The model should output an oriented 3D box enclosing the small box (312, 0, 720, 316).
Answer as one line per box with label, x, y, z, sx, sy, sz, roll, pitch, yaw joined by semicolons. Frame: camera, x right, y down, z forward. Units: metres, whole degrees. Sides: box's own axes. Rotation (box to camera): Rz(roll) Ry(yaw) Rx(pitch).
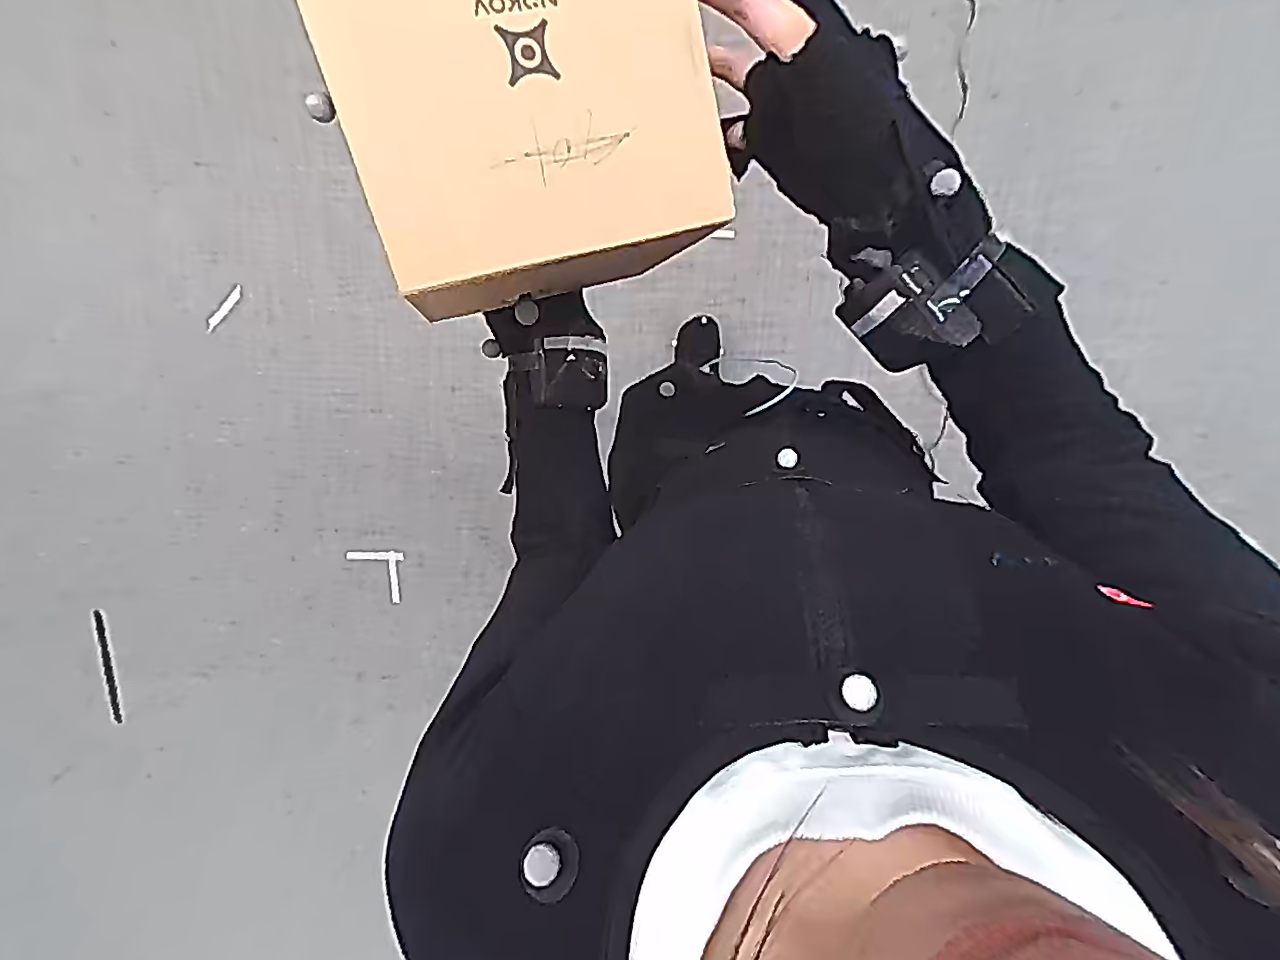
small box;-0.076;-0.209;0.319;0.168;0.176;0.179;-18;105;-12
